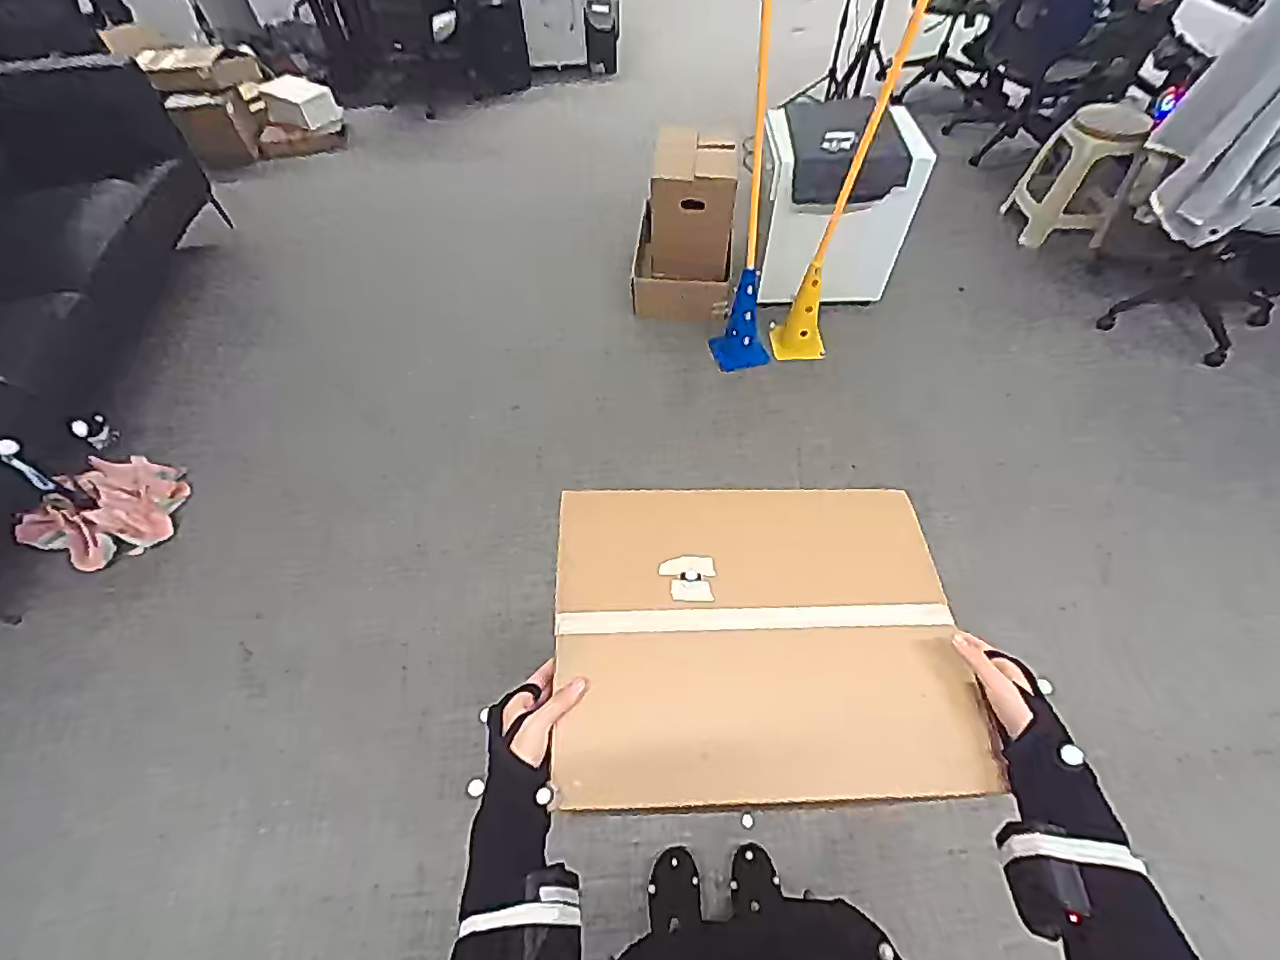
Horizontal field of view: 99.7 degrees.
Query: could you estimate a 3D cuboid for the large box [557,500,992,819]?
[{"bbox_3d":[0.115,0.238,0.684,0.408,0.320,0.320,-1,56,-3],"label":"large box"}]
